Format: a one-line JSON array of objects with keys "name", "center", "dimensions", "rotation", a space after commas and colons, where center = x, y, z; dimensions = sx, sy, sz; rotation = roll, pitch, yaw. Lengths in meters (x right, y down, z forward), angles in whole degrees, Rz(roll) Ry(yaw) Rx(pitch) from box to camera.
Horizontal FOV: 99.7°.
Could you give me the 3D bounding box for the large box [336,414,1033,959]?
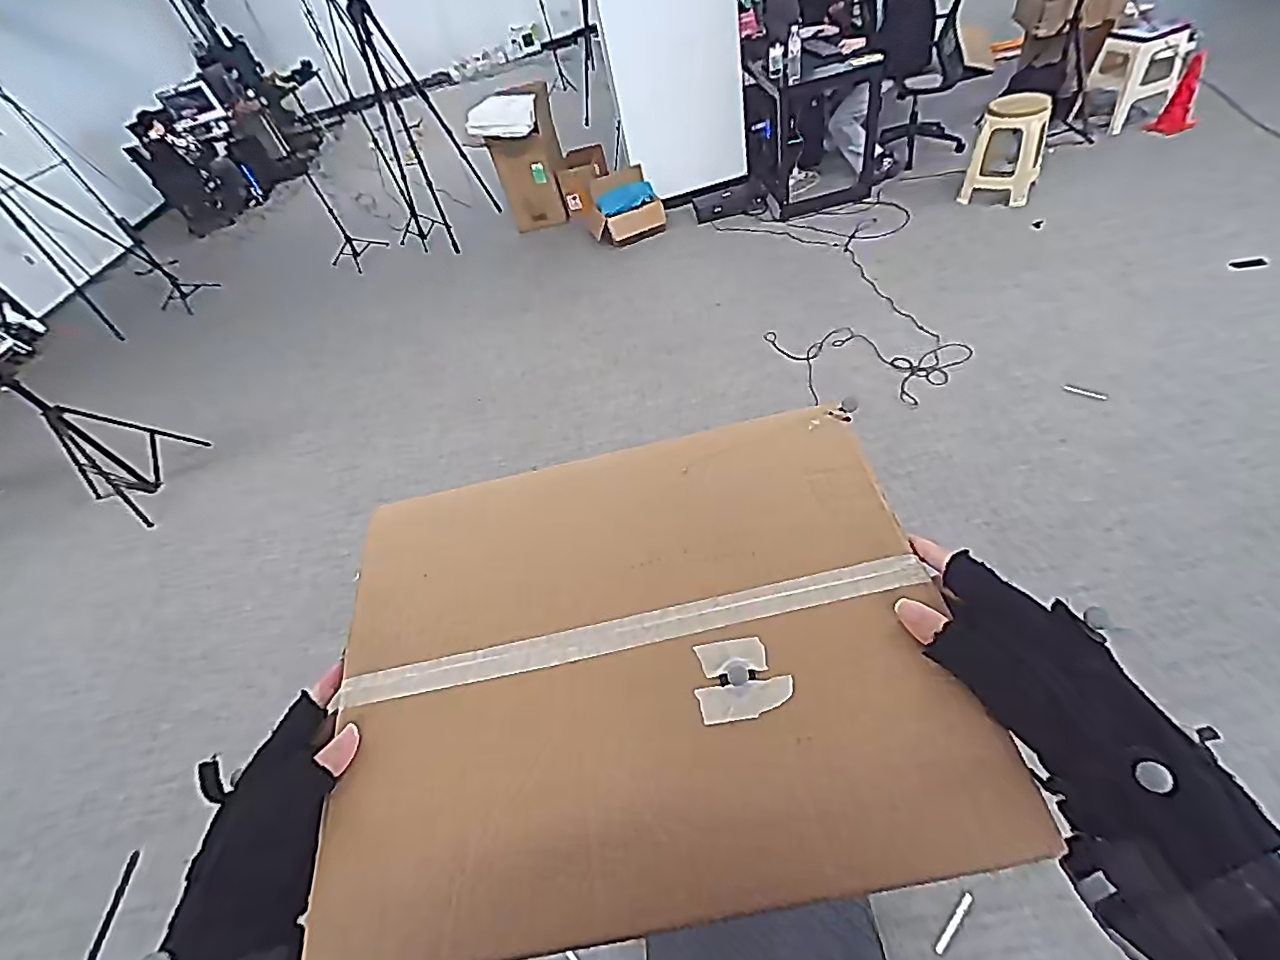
[{"name": "large box", "center": [0.019, 0.192, 0.502], "dimensions": [0.408, 0.320, 0.320], "rotation": [-13, 55, 2]}]
